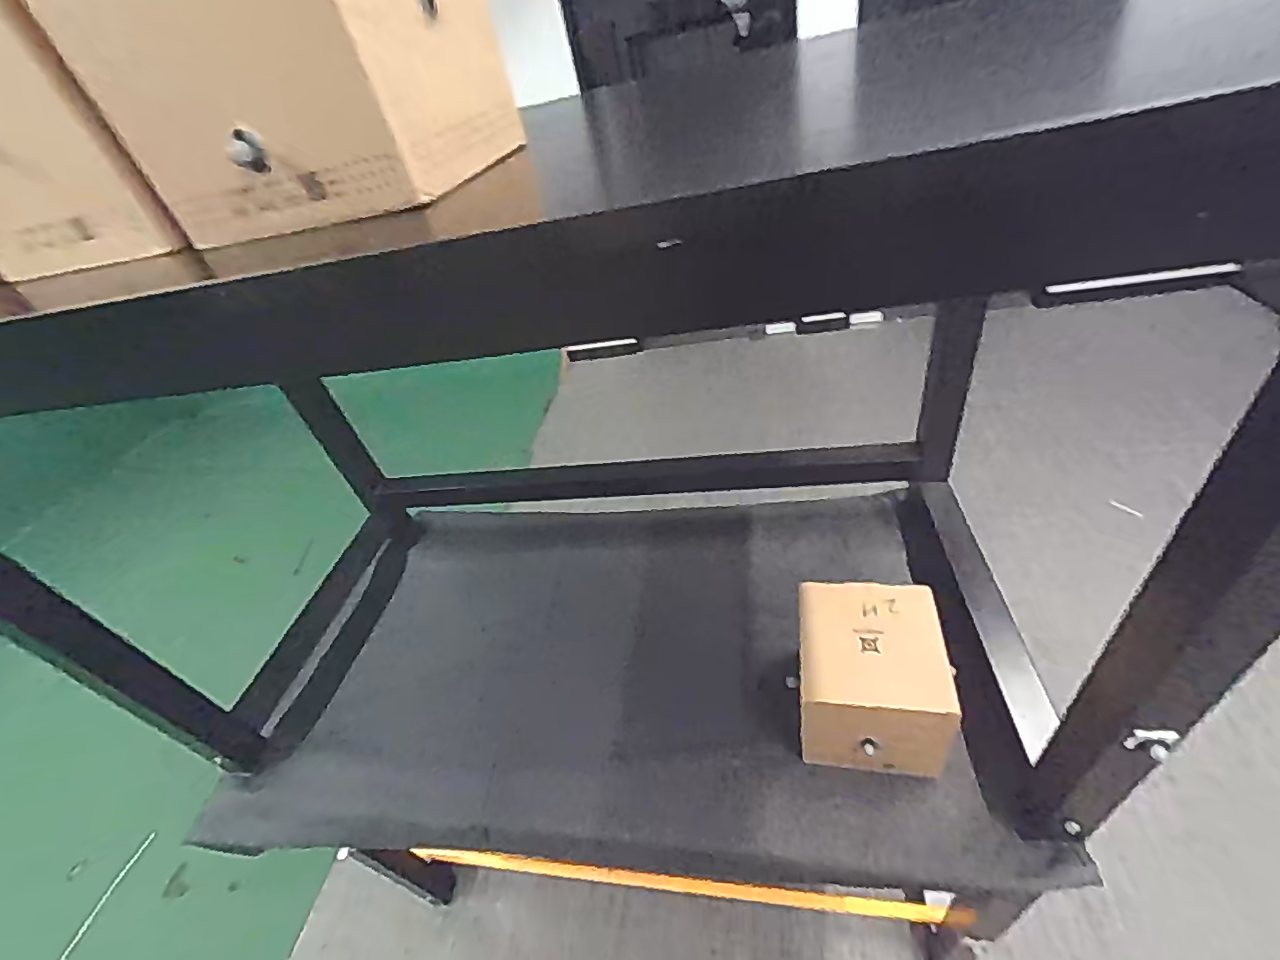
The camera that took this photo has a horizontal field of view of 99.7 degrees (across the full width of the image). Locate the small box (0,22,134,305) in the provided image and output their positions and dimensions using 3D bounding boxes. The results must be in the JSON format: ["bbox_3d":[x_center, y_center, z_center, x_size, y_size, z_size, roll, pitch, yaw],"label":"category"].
[{"bbox_3d":[-0.574,-0.240,0.433,0.168,0.176,0.179,-3,41,15],"label":"small box"}]

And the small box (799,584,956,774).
[{"bbox_3d":[0.297,0.261,0.713,0.168,0.176,0.179,-1,40,16],"label":"small box"}]
